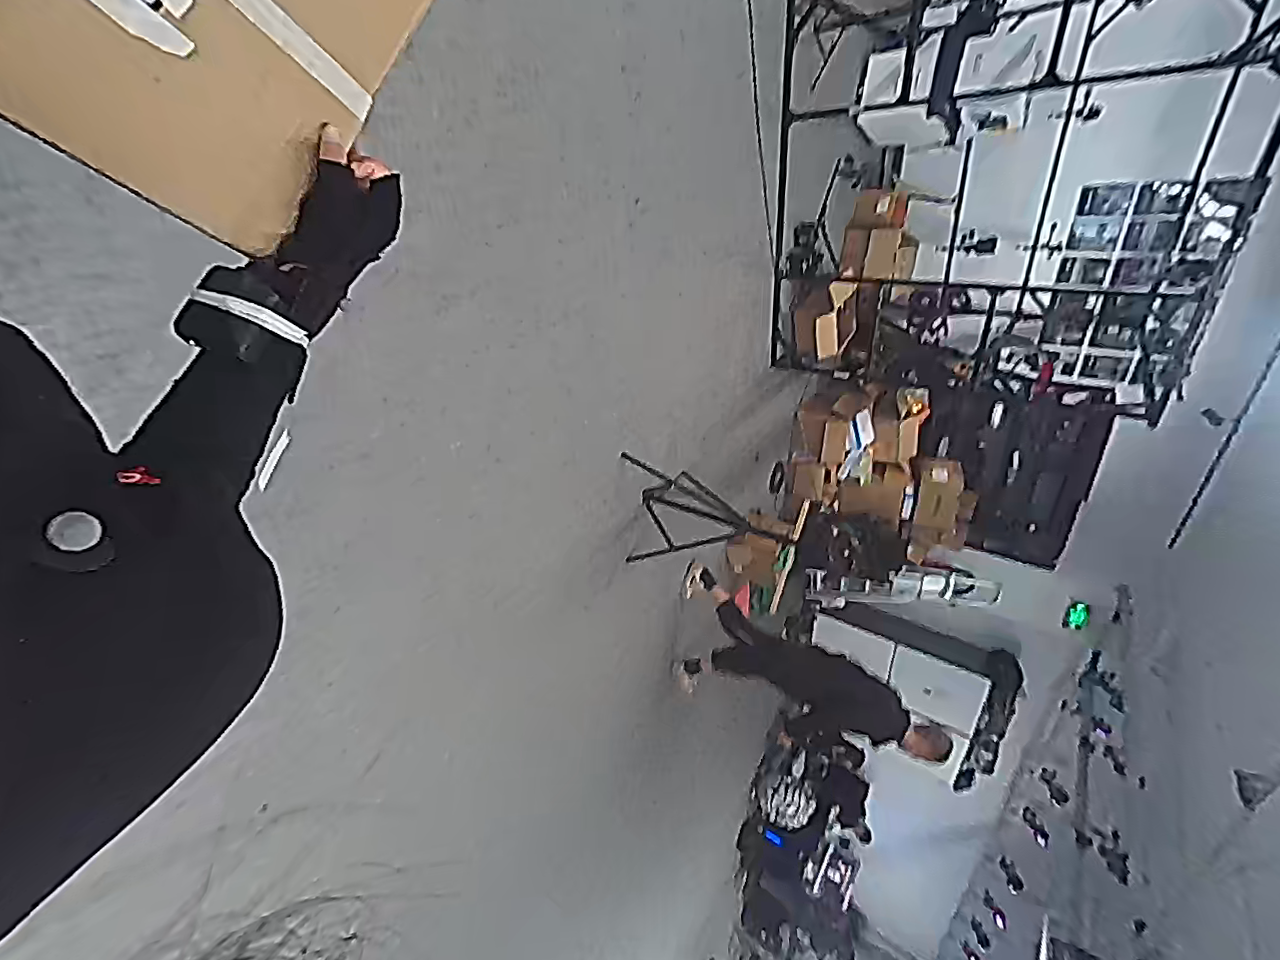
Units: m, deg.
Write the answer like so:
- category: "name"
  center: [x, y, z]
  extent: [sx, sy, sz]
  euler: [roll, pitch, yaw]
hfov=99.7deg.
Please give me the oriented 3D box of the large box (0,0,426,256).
- category: "large box"
  center: [-0.444, -0.437, 0.384]
  extent: [0.320, 0.320, 0.408]
  euler: [-59, 147, 1]
